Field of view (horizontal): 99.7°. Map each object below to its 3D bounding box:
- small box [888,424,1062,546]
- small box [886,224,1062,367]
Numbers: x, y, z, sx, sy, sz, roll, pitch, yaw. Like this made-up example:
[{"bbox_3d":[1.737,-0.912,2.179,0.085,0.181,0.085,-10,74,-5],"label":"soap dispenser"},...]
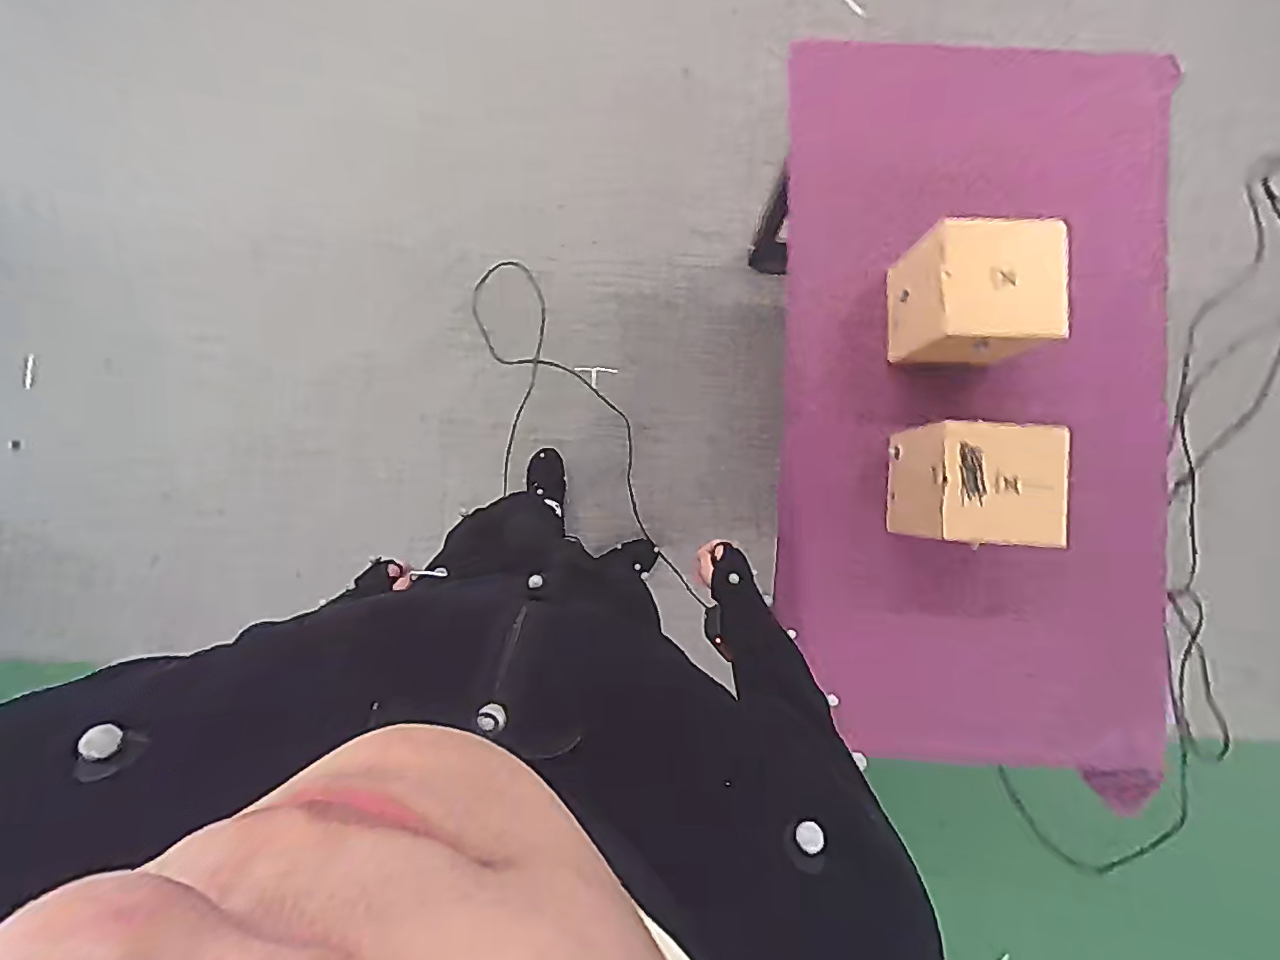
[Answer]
[{"bbox_3d":[0.500,0.012,0.832,0.179,0.176,0.168,2,87,1],"label":"small box"},{"bbox_3d":[0.509,-0.278,0.843,0.179,0.176,0.168,1,88,1],"label":"small box"}]
